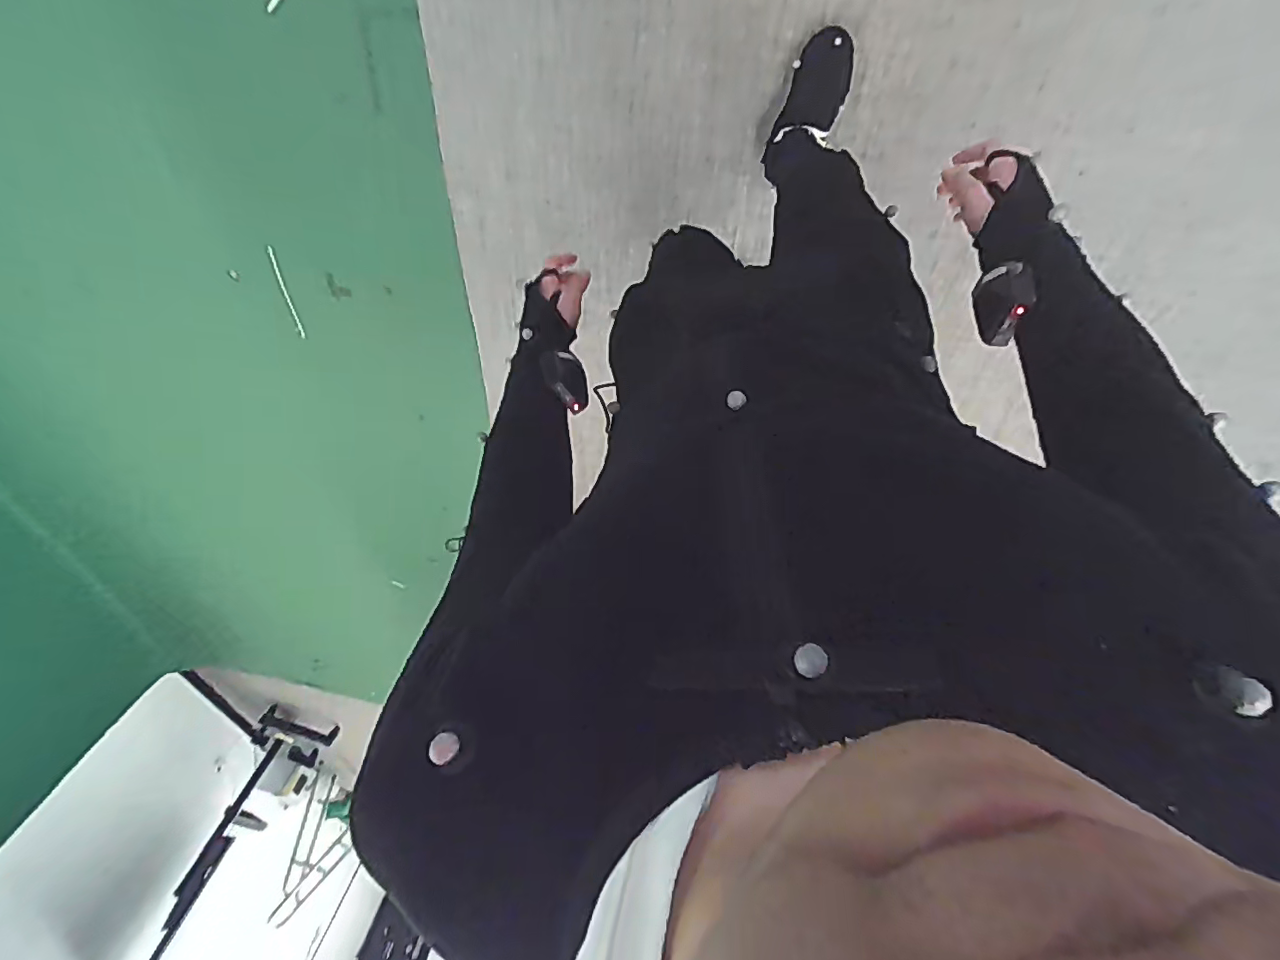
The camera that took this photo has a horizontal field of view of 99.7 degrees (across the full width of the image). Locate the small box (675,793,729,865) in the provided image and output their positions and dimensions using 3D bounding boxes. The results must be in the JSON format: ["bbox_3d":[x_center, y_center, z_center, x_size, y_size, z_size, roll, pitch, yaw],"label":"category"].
[{"bbox_3d":[0.234,1.301,2.024,0.168,0.176,0.179,12,132,6],"label":"small box"}]
